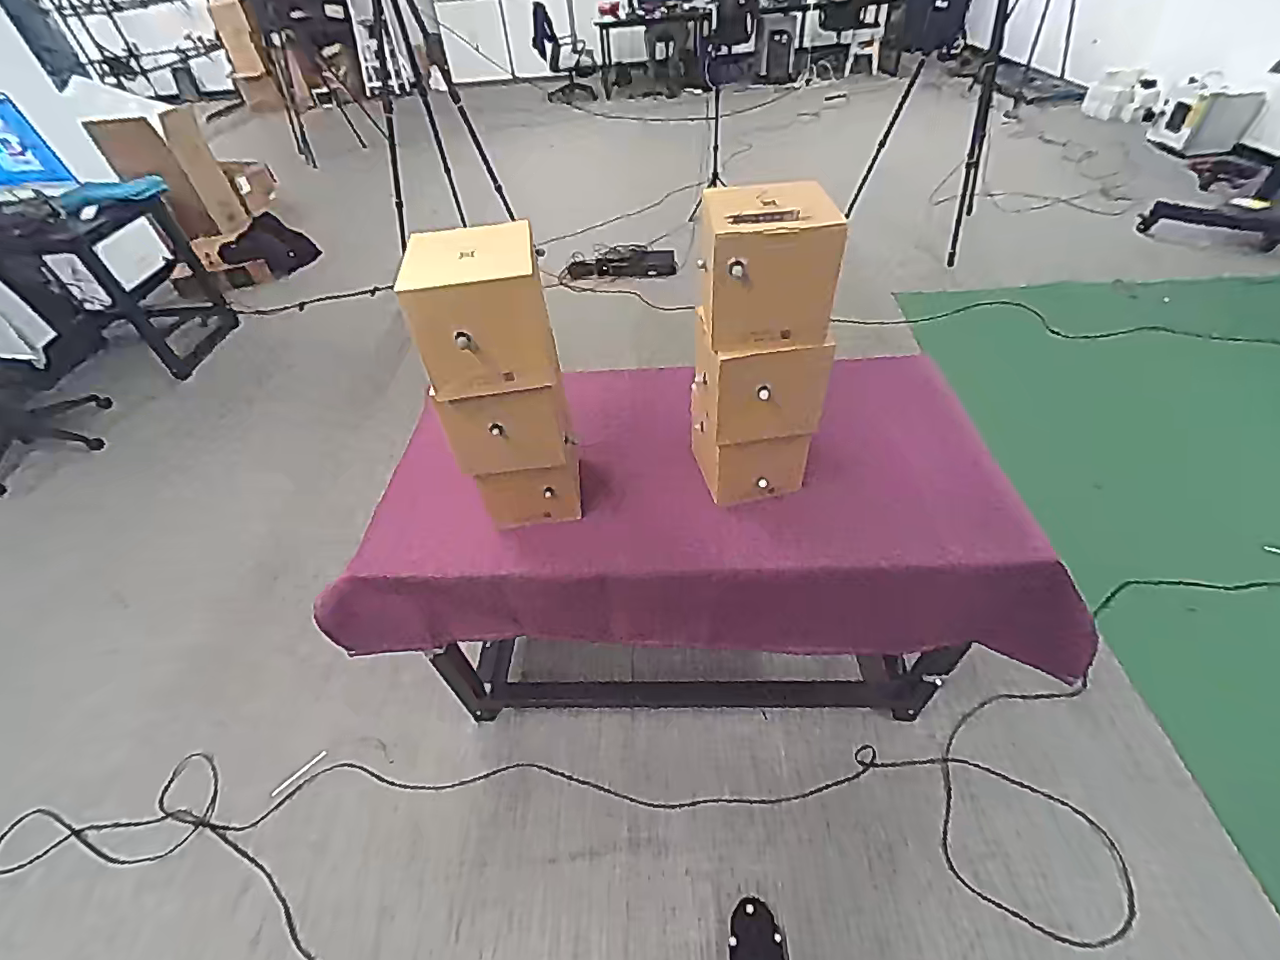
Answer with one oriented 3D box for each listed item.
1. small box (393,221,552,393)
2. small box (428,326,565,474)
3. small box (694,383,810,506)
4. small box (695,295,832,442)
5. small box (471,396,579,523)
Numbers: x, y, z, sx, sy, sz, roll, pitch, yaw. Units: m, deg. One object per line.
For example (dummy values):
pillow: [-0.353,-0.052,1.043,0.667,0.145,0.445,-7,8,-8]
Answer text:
small box: [-0.219,-0.234,0.754,0.168,0.176,0.179,-9,45,-4]
small box: [-0.218,-0.129,0.878,0.179,0.176,0.168,-6,46,-1]
small box: [0.198,-0.078,1.014,0.168,0.176,0.179,-11,46,-5]
small box: [0.190,-0.178,0.883,0.179,0.176,0.168,-7,46,-1]
small box: [-0.205,-0.033,1.013,0.168,0.176,0.179,-6,45,-1]
